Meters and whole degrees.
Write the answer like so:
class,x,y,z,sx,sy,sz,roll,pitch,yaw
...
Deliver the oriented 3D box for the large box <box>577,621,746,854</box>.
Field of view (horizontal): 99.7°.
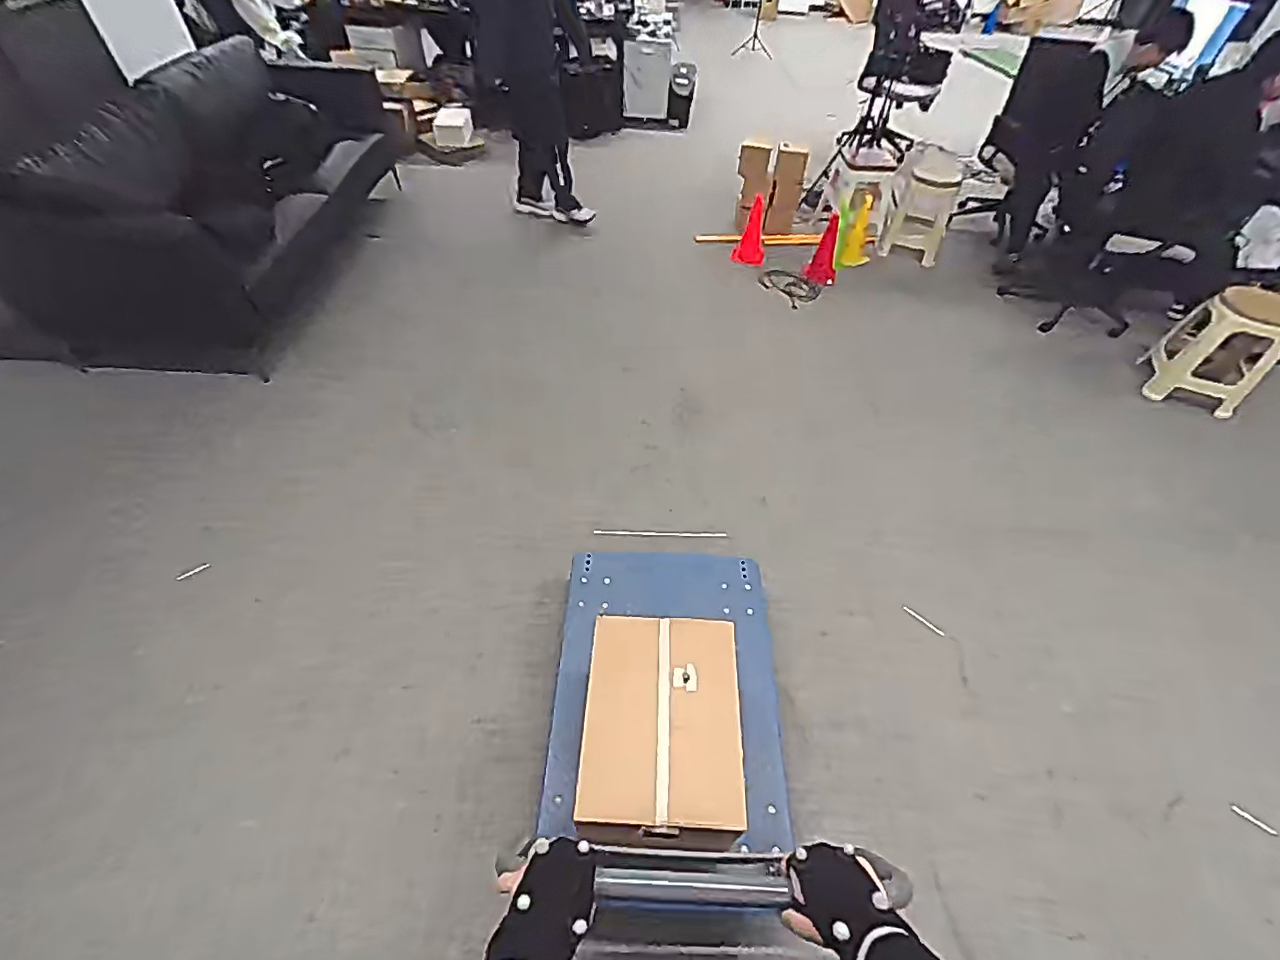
class,x,y,z,sx,sy,sz,roll,pitch,yaw
large box,0.043,0.575,1.215,0.320,0.320,0.408,3,47,1
